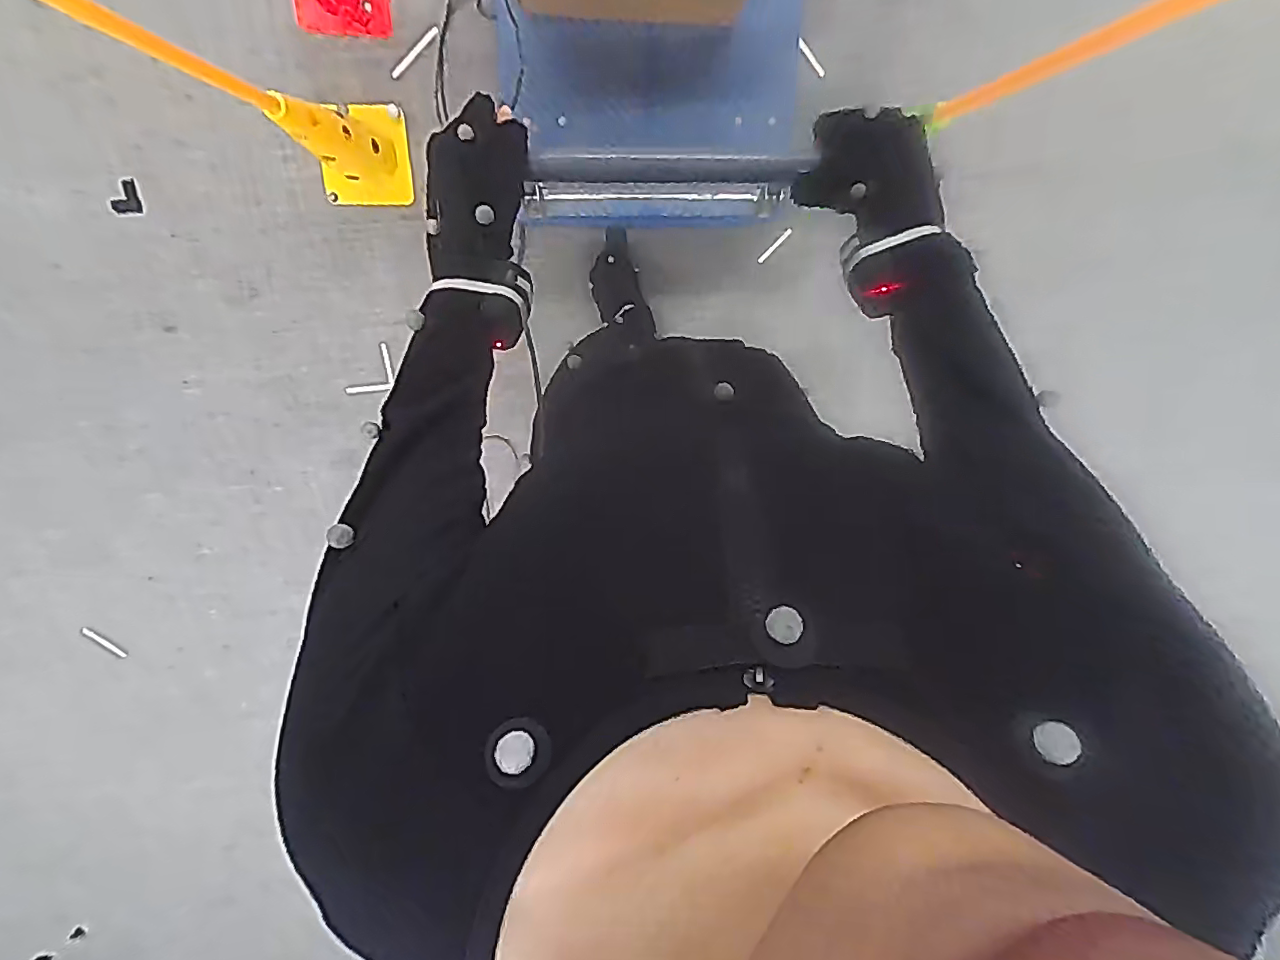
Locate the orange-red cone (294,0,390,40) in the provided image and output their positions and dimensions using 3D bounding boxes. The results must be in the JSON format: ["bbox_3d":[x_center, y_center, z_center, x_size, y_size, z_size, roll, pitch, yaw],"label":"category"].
[{"bbox_3d":[-0.617,-0.993,0.965,0.198,0.360,0.199,3,107,-4],"label":"orange-red cone"}]

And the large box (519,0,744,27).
[{"bbox_3d":[-0.014,-0.958,0.843,0.408,0.320,0.320,1,110,-1],"label":"large box"}]

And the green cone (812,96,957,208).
[{"bbox_3d":[0.514,-0.691,1.100,0.202,0.368,0.200,-1,109,-3],"label":"green cone"}]
